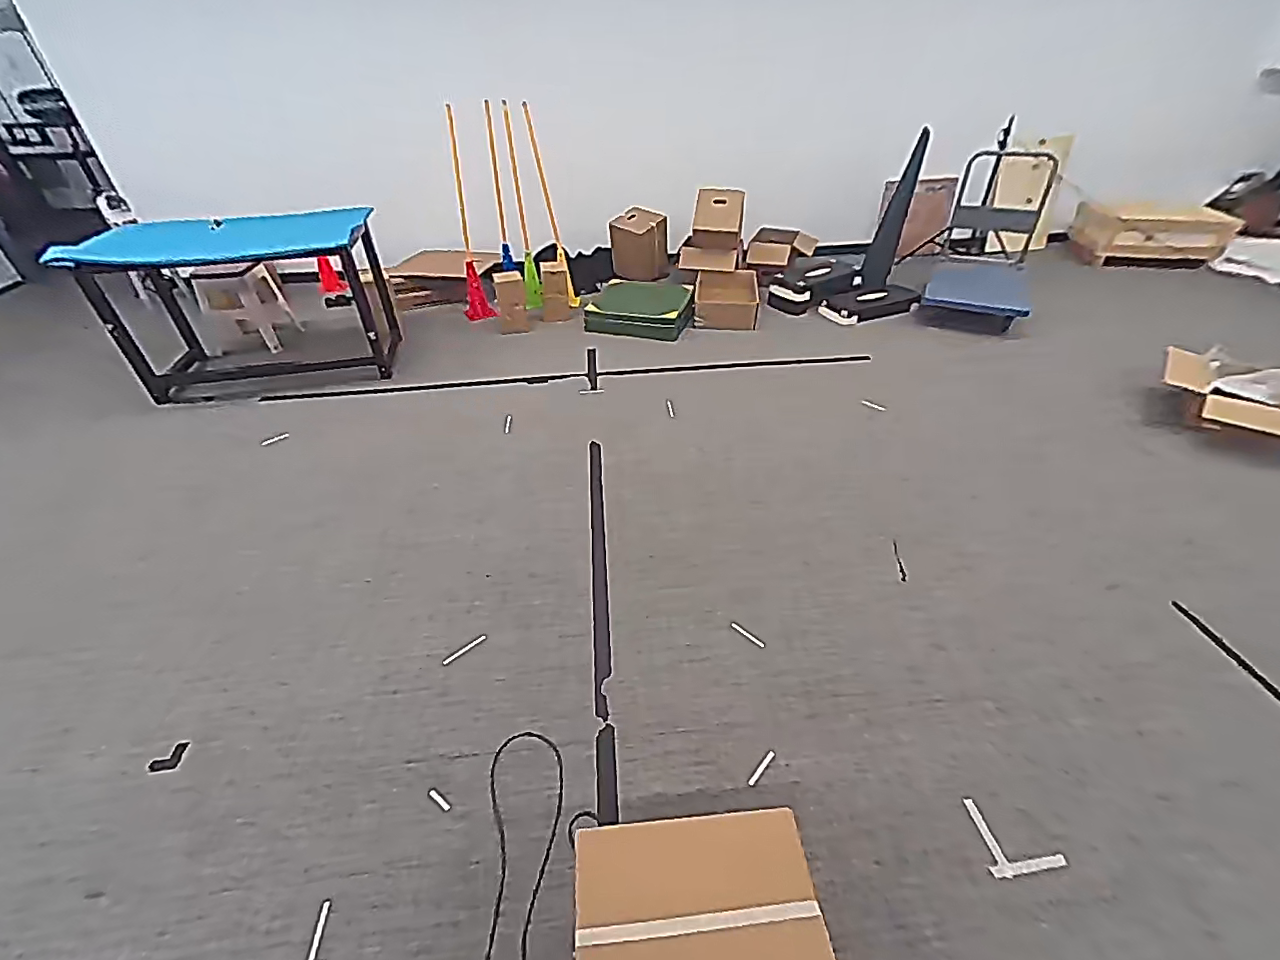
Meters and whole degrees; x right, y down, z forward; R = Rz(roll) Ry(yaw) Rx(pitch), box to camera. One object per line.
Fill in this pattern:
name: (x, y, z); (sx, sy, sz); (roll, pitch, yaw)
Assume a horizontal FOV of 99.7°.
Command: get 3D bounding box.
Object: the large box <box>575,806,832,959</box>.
large box: (0.097, 0.837, 0.976); (0.408, 0.320, 0.320); (-3, 38, -5)
